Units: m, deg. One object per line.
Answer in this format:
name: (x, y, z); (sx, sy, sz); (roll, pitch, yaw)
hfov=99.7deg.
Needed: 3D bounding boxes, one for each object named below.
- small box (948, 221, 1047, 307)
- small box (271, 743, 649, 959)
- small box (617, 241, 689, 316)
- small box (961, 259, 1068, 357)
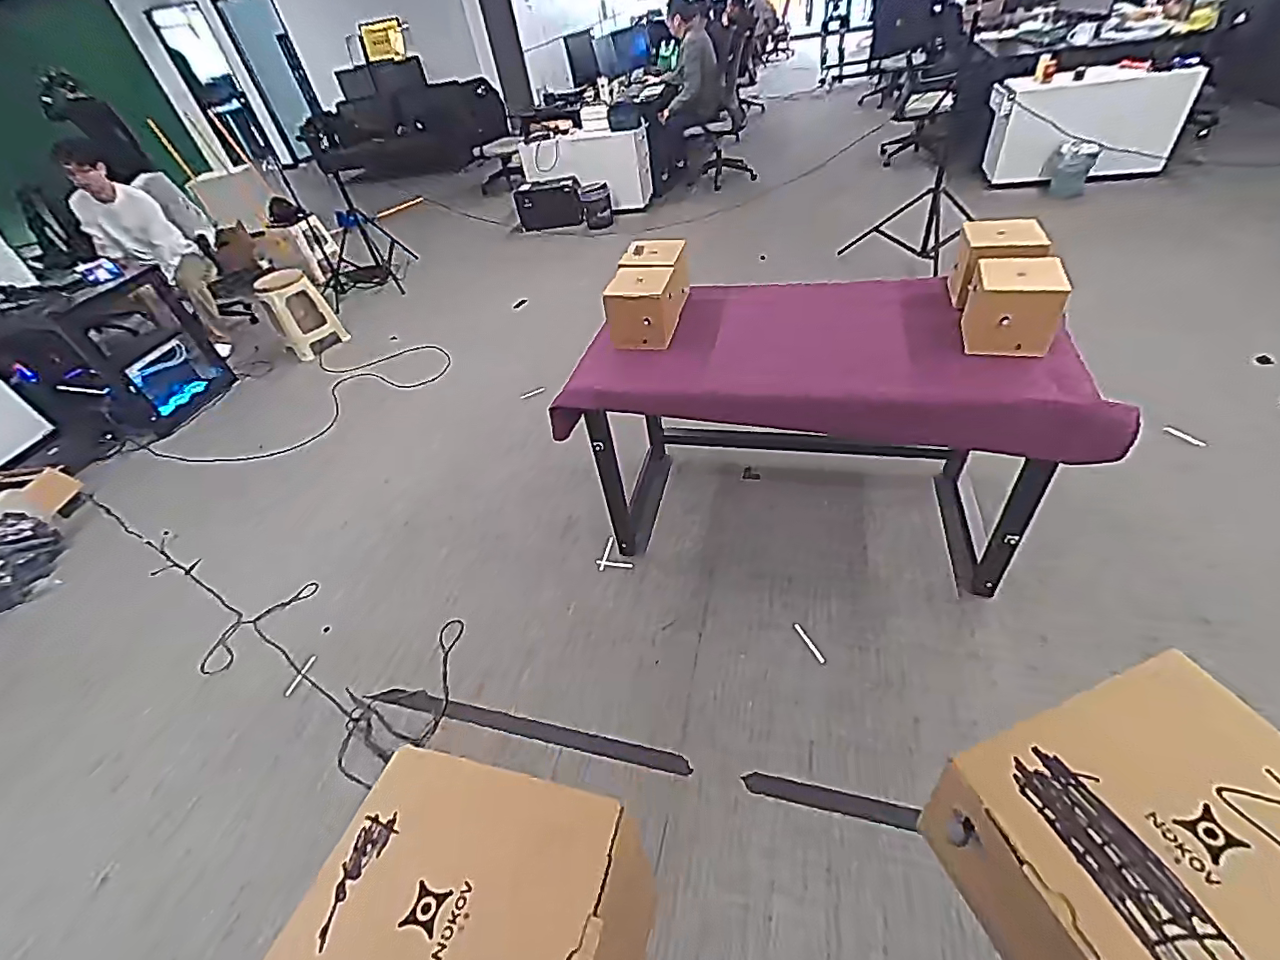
small box: (0.934, -0.567, 1.434); (0.179, 0.176, 0.168); (6, 46, 16)
small box: (-0.100, 0.309, 0.354); (0.179, 0.176, 0.168); (5, 38, 17)
small box: (0.046, -0.622, 1.677); (0.179, 0.176, 0.168); (7, 48, 17)
small box: (0.879, -0.408, 1.287); (0.168, 0.176, 0.179); (8, 45, 20)
